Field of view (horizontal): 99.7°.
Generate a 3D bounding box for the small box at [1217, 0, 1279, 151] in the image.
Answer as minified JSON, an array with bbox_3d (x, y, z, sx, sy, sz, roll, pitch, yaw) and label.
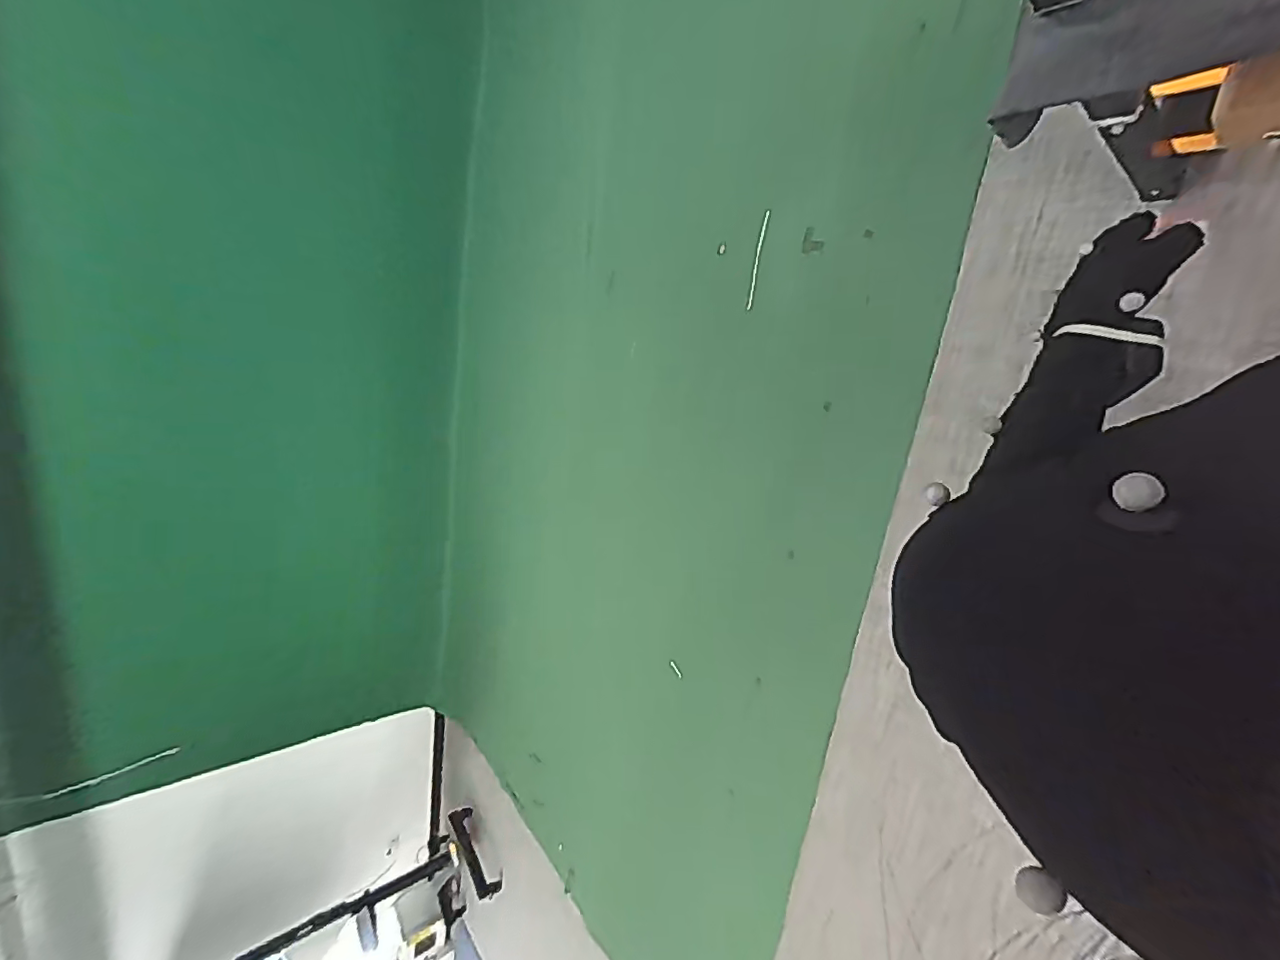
[{"bbox_3d":[1.029,-0.635,0.823,0.168,0.176,0.179,22,111,47],"label":"small box"}]
